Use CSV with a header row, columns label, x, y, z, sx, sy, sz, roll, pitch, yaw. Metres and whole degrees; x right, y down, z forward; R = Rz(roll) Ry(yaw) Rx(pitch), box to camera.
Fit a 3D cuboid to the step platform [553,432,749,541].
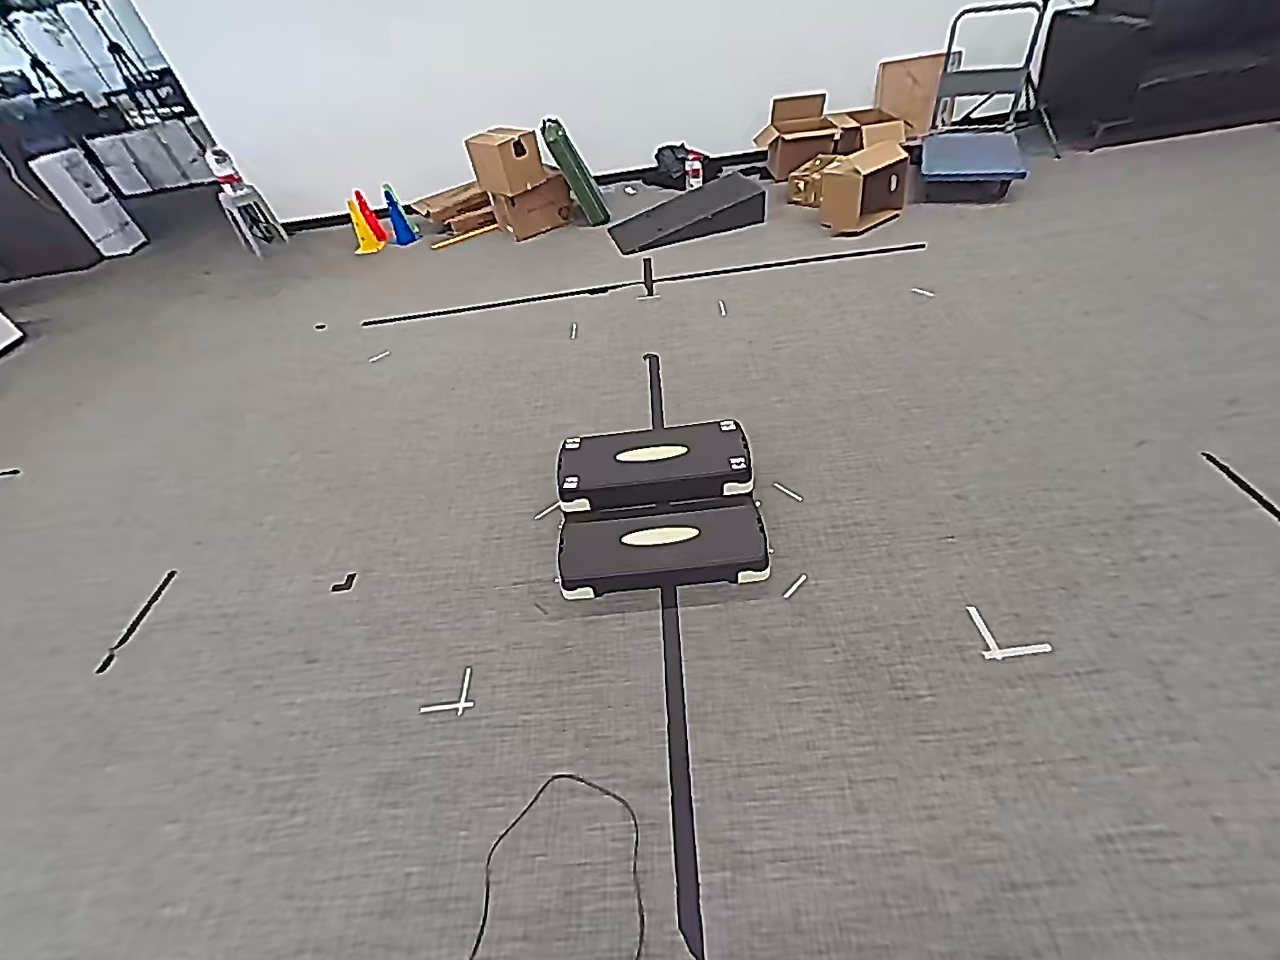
label,x,y,z,sx,sy,sz,roll,pitch,yaw
step platform,0.036,0.018,1.924,0.684,0.204,0.286,-6,45,2
